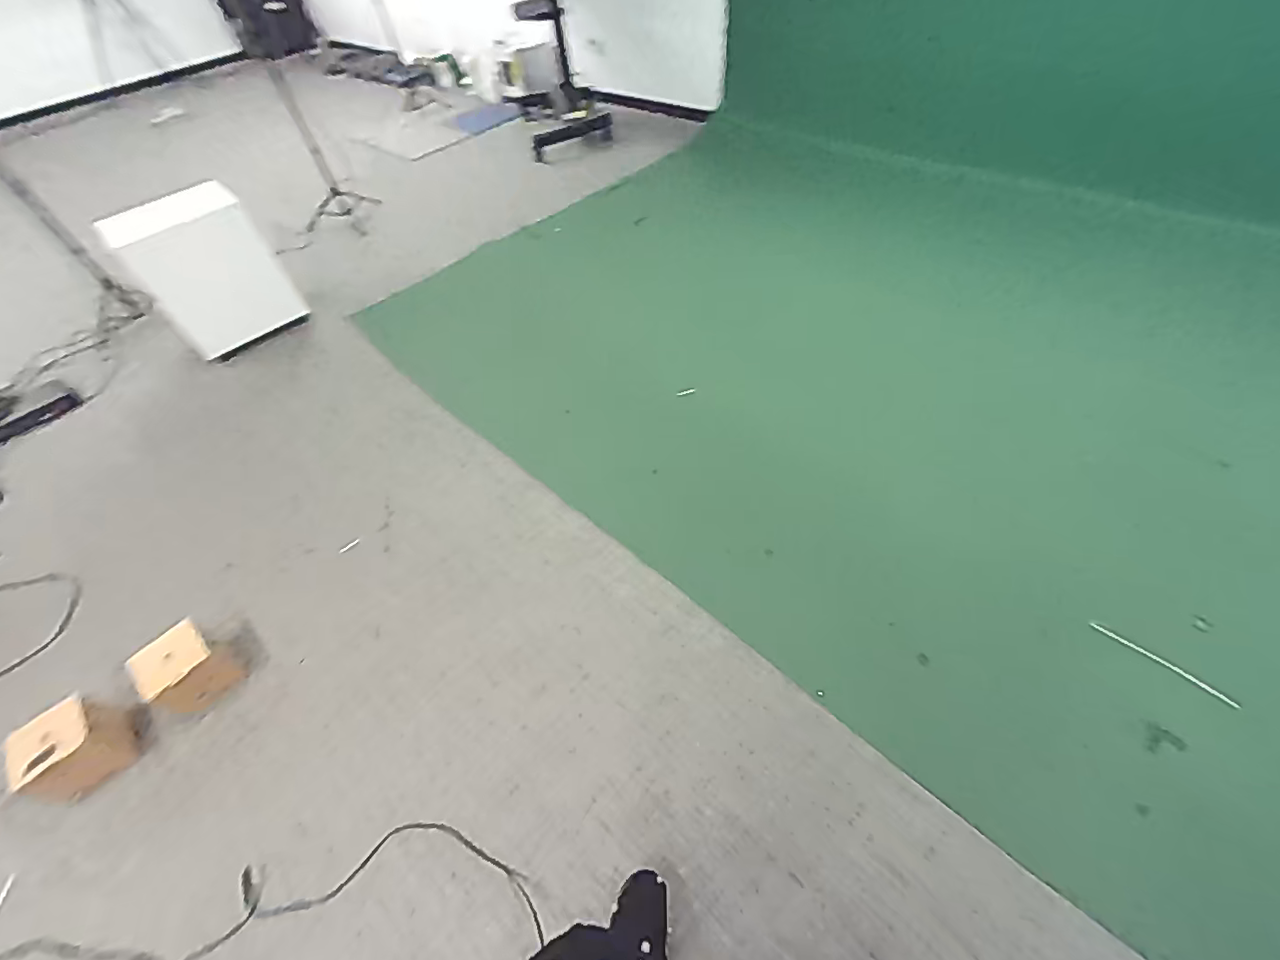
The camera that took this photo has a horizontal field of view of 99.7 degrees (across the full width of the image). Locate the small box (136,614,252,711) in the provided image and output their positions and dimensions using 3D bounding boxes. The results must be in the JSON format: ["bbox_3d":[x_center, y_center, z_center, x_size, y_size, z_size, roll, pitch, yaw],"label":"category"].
[{"bbox_3d":[-1.266,0.525,1.542,0.179,0.176,0.168,33,61,28],"label":"small box"}]

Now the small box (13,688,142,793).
[{"bbox_3d":[-1.474,0.692,1.426,0.168,0.176,0.179,-38,56,-23],"label":"small box"}]
